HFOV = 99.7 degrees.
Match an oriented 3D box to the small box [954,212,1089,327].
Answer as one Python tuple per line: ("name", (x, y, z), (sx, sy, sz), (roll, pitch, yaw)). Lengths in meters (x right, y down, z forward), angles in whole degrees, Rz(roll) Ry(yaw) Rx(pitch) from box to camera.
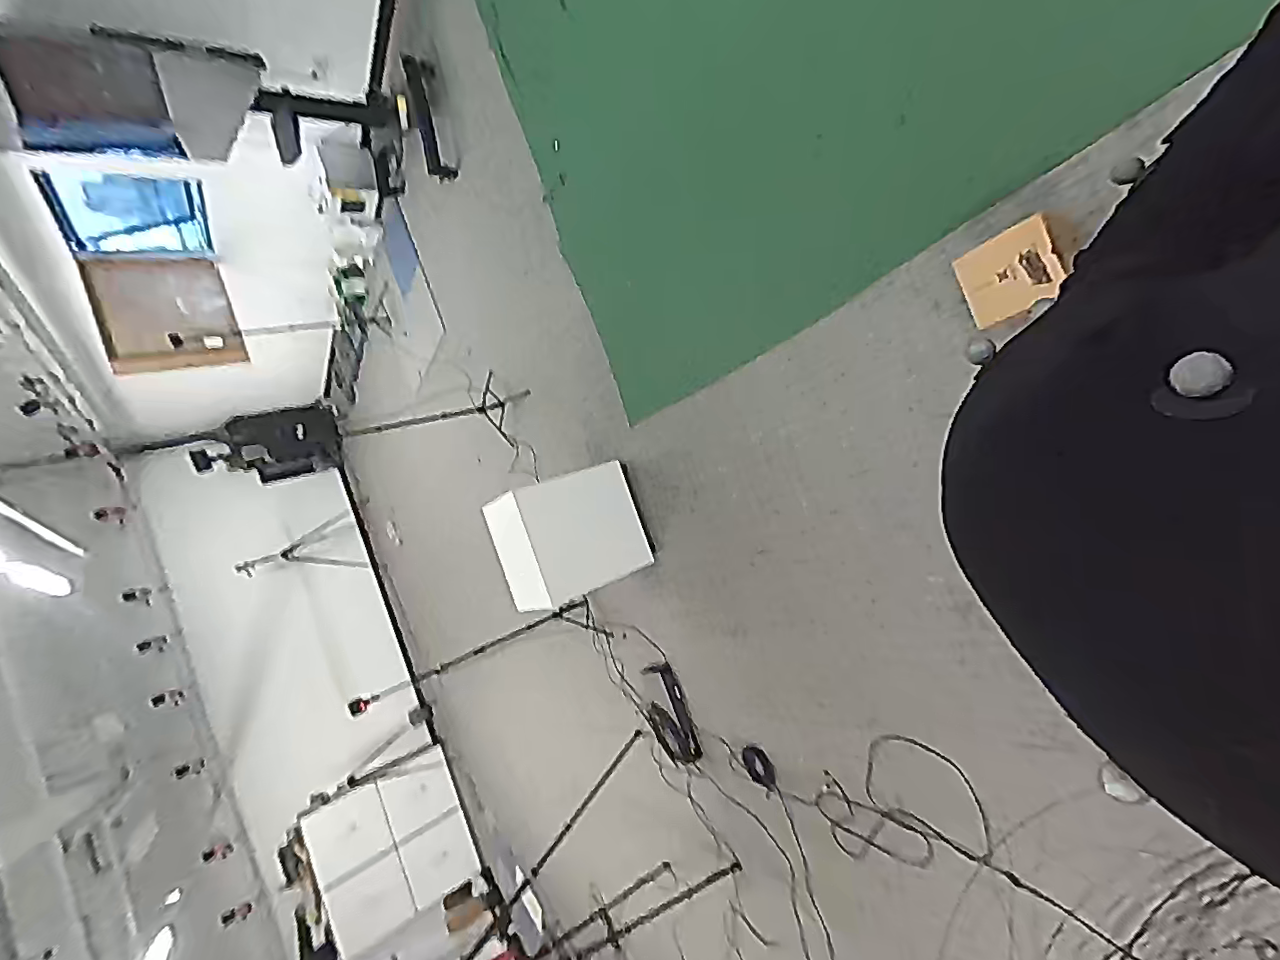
("small box", (0.823, -0.448, 1.159), (0.179, 0.176, 0.168), (-25, 84, 54))
